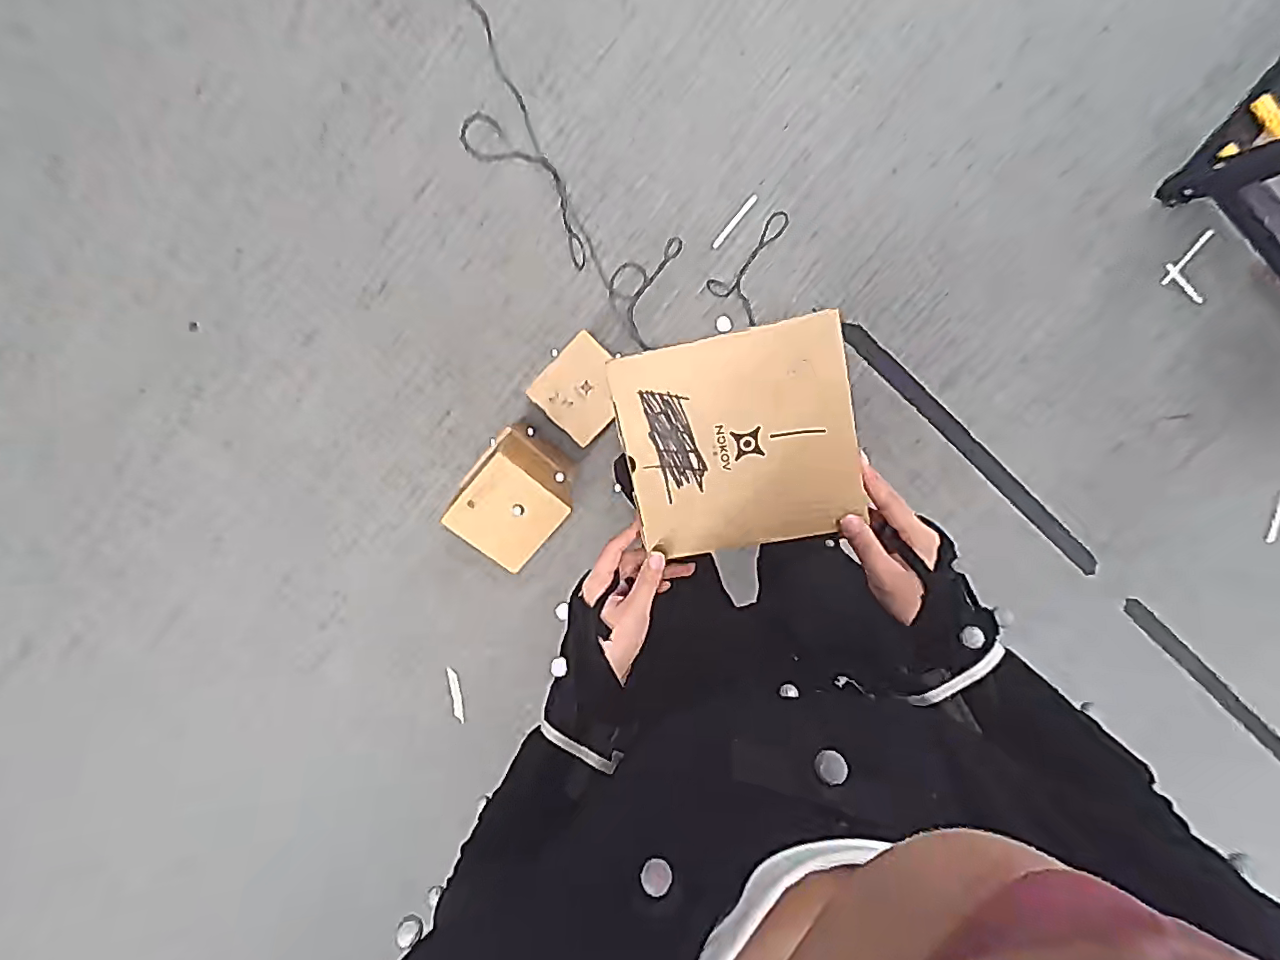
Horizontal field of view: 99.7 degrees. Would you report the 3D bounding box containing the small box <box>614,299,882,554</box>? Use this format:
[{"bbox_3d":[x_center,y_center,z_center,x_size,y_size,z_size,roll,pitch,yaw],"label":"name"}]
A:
[{"bbox_3d":[0.090,-0.049,0.476,0.179,0.176,0.168,-10,102,9],"label":"small box"}]

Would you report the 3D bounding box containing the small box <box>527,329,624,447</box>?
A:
[{"bbox_3d":[-0.115,-0.198,1.153,0.168,0.176,0.179,44,97,-10],"label":"small box"}]
